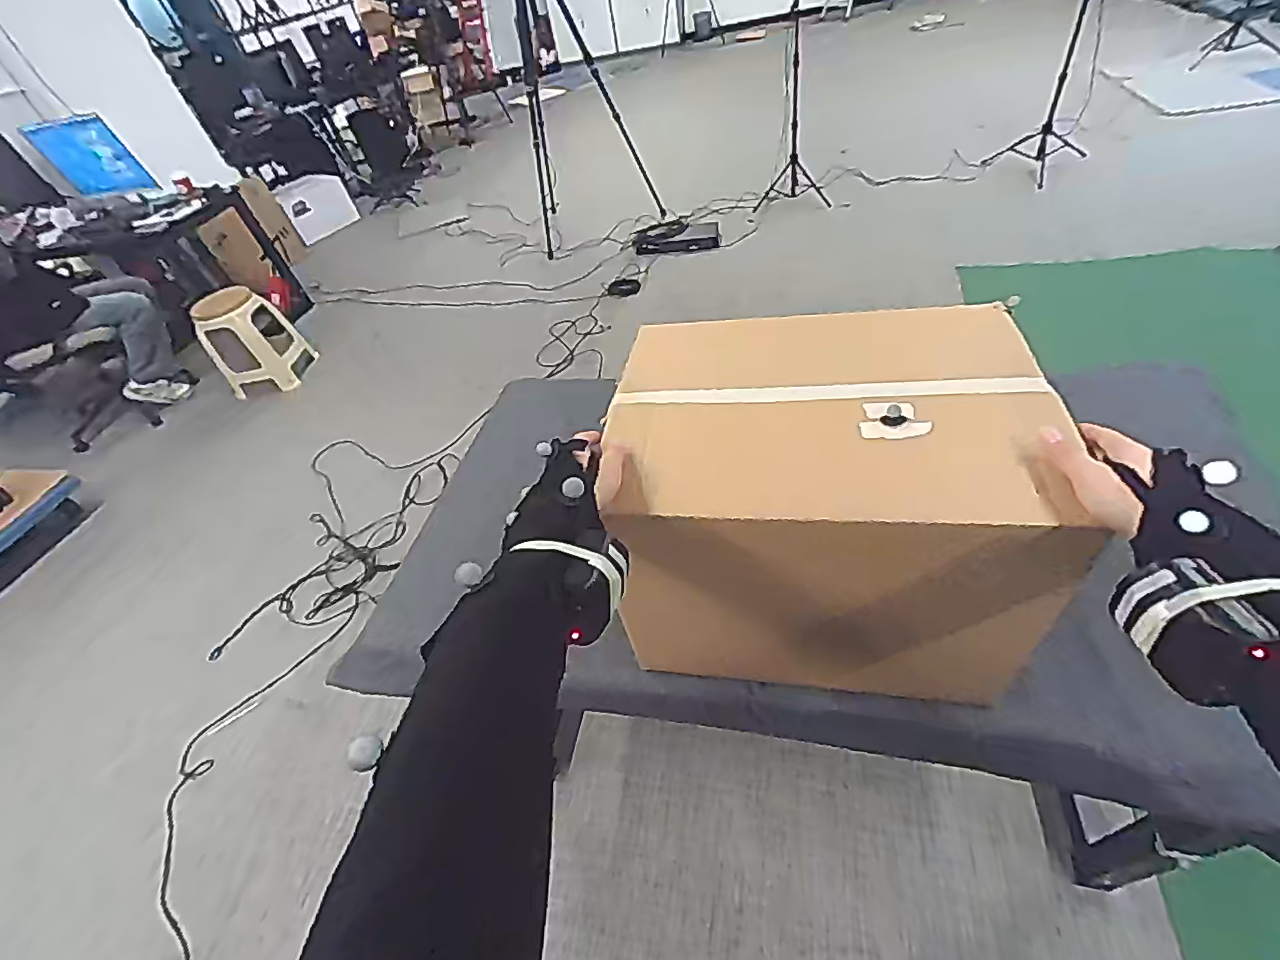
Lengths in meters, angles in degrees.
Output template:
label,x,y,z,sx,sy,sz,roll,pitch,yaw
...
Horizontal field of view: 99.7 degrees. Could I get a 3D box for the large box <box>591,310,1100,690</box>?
label,x,y,z,sx,sy,sz,roll,pitch,yaw
large box,0.193,0.023,0.642,0.408,0.320,0.320,1,46,14
